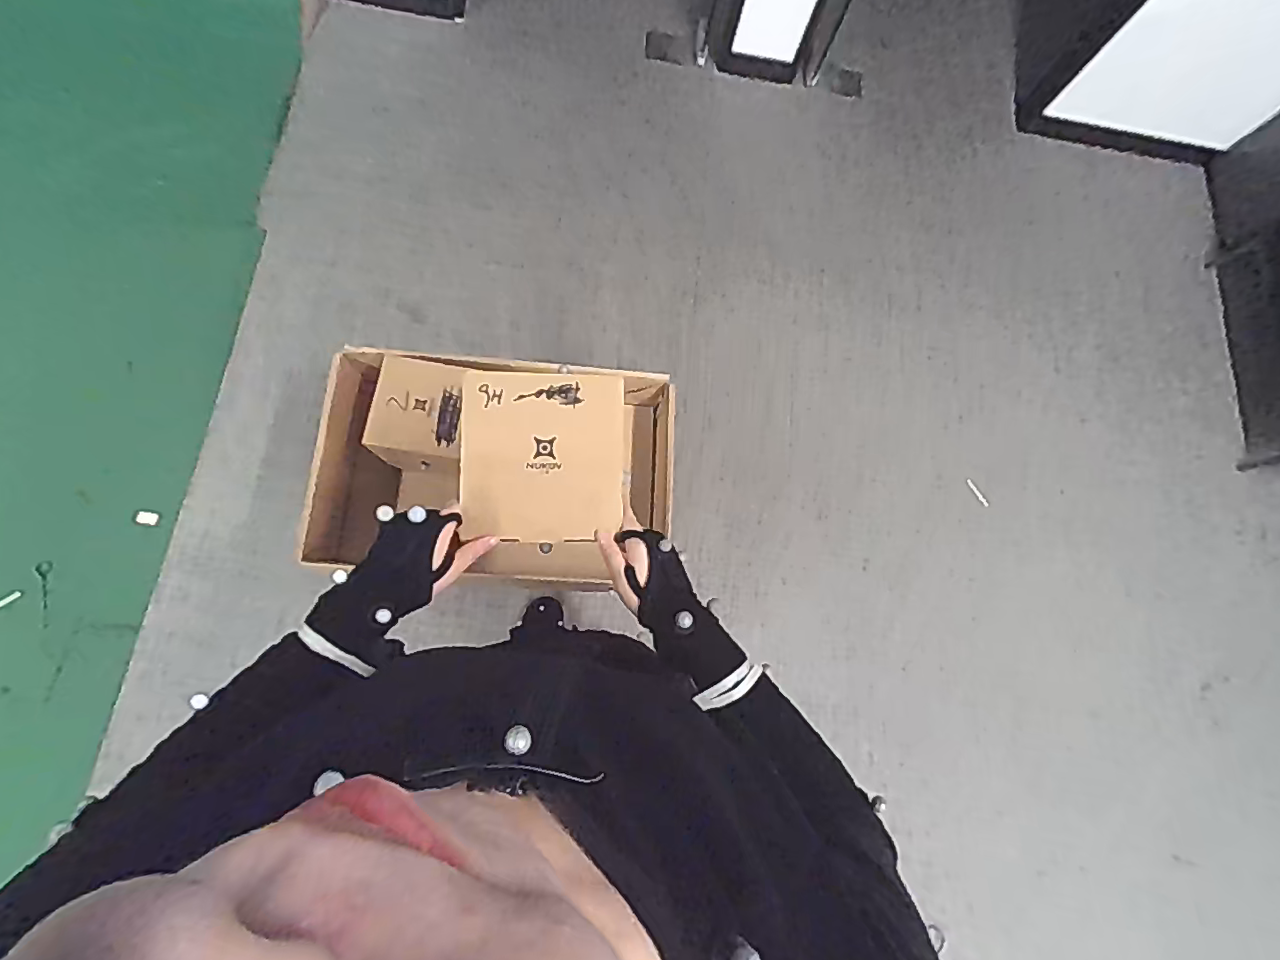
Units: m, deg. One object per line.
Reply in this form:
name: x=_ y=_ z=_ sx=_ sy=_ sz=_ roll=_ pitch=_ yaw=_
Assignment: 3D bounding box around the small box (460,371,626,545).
small box: x=-0.106 y=-0.019 z=0.633 sx=0.168 sy=0.176 sz=0.179 roll=1 pitch=87 yaw=-7
